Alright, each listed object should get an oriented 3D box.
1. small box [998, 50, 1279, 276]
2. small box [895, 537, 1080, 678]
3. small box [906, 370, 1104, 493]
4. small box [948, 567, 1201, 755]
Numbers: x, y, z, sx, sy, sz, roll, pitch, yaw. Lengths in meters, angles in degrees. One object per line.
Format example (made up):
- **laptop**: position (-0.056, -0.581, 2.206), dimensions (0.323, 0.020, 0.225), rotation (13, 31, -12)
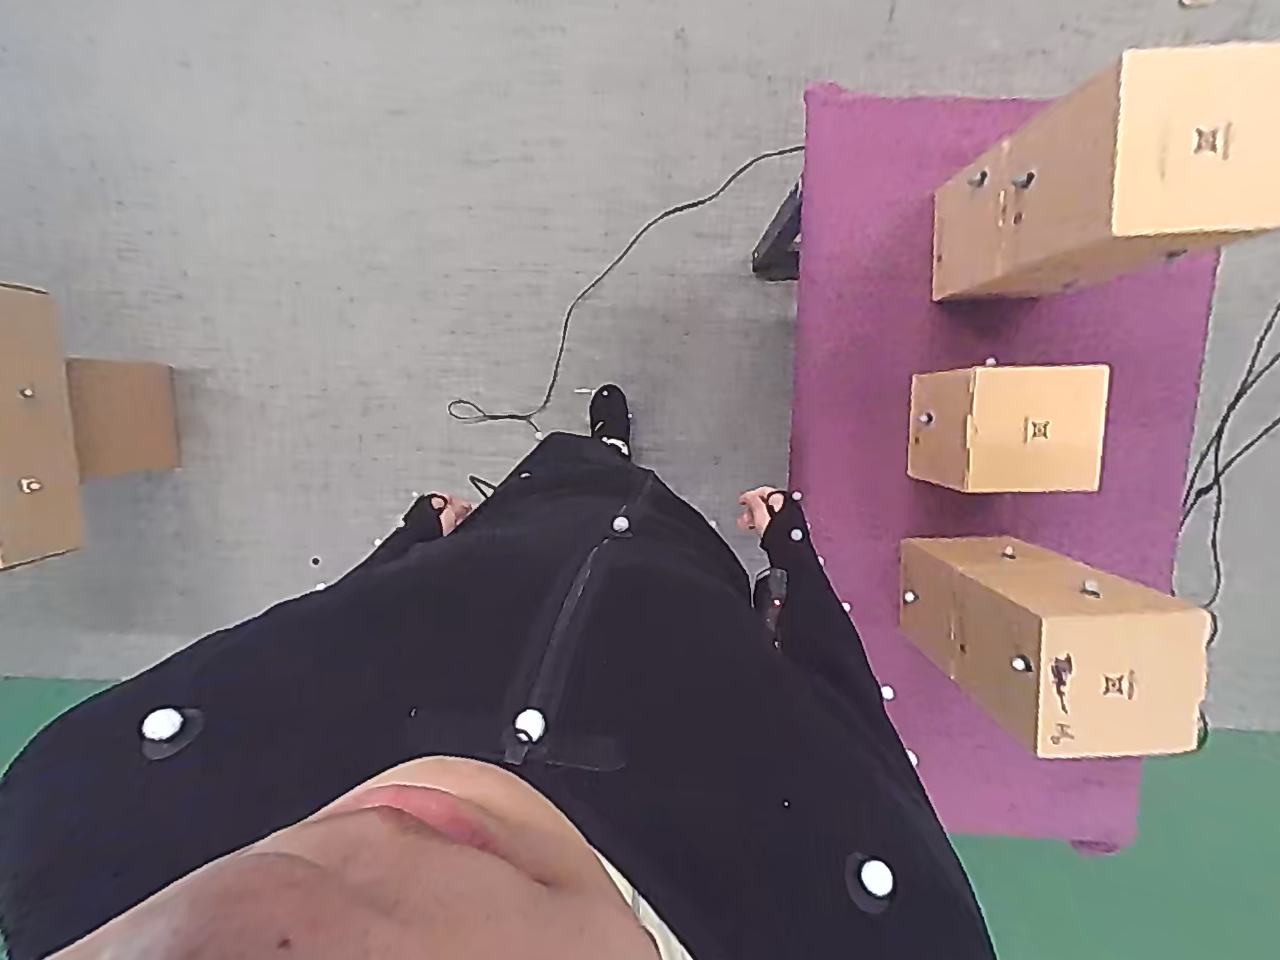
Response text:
- **small box**: position (0.538, -0.329, 0.593), dimensions (0.179, 0.176, 0.168), rotation (-2, 98, 1)
- **small box**: position (0.520, 0.187, 0.831), dimensions (0.179, 0.176, 0.168), rotation (-2, 97, 2)
- **small box**: position (0.522, -0.076, 0.797), dimensions (0.179, 0.176, 0.168), rotation (-1, 98, 2)
- **small box**: position (0.518, 0.211, 0.669), dimensions (0.179, 0.176, 0.168), rotation (-3, 97, 1)
